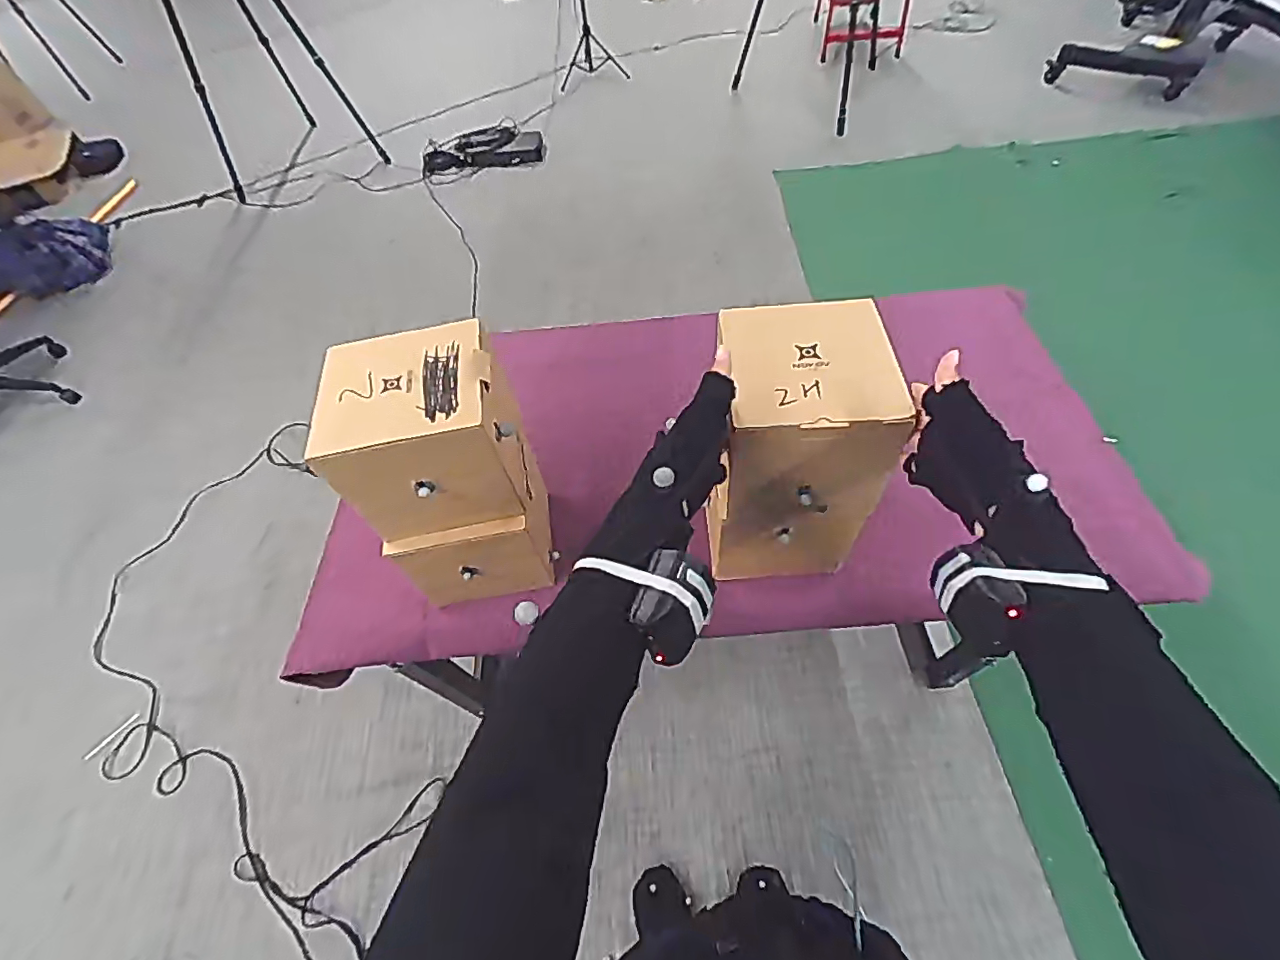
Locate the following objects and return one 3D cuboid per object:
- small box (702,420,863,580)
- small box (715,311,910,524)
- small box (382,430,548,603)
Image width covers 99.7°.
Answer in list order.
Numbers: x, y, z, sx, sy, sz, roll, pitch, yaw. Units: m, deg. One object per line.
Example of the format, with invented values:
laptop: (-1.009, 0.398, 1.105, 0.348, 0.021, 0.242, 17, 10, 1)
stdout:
small box: (0.181, 0.029, 0.746, 0.179, 0.176, 0.168, -4, 55, 3)
small box: (0.174, -0.067, 0.612, 0.168, 0.176, 0.179, -2, 56, 5)
small box: (-0.229, 0.056, 0.756, 0.179, 0.176, 0.168, -10, 55, -2)
